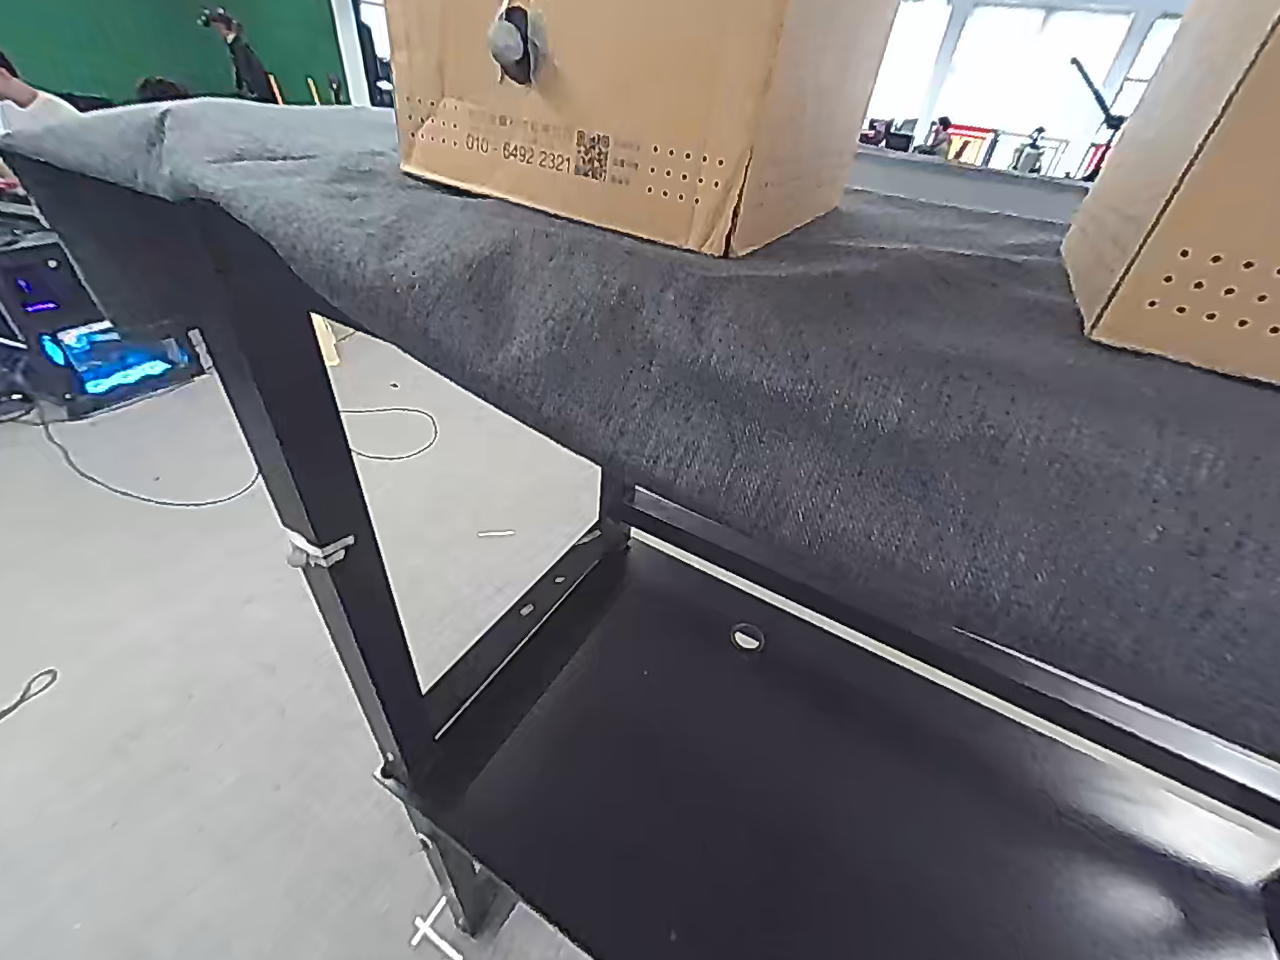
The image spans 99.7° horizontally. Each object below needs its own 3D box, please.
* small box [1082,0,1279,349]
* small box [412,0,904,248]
[{"bbox_3d":[0.253,-0.119,0.138,0.168,0.176,0.179,23,39,22],"label":"small box"},{"bbox_3d":[0.017,-0.216,0.234,0.168,0.176,0.179,23,39,19],"label":"small box"}]
